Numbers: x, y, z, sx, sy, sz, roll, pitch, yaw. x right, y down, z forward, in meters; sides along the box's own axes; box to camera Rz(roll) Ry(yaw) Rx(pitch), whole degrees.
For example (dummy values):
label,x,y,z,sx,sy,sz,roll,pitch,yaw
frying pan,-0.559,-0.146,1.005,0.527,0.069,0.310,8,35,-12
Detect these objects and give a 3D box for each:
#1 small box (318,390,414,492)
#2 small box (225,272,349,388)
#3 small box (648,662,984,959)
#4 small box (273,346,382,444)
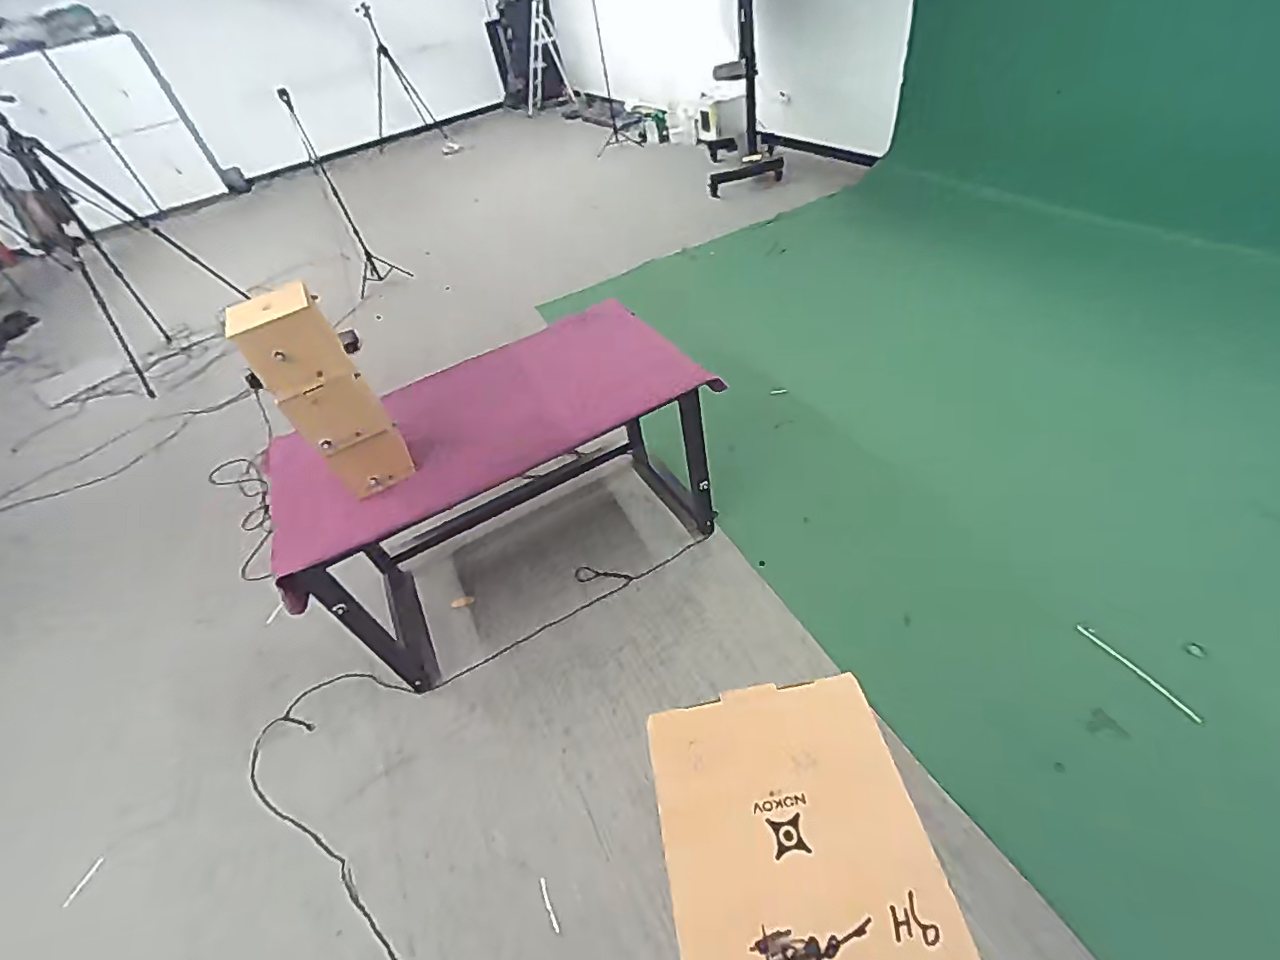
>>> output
label,x,y,z,sx,sy,sz,roll,pitch,yaw
small box,-0.718,-0.102,1.415,0.168,0.176,0.179,-27,47,-13
small box,-0.763,-0.322,1.180,0.168,0.176,0.179,-29,46,-14
small box,0.107,0.268,0.404,0.168,0.176,0.179,-12,44,1
small box,-0.741,-0.208,1.293,0.168,0.176,0.179,-27,45,-13
